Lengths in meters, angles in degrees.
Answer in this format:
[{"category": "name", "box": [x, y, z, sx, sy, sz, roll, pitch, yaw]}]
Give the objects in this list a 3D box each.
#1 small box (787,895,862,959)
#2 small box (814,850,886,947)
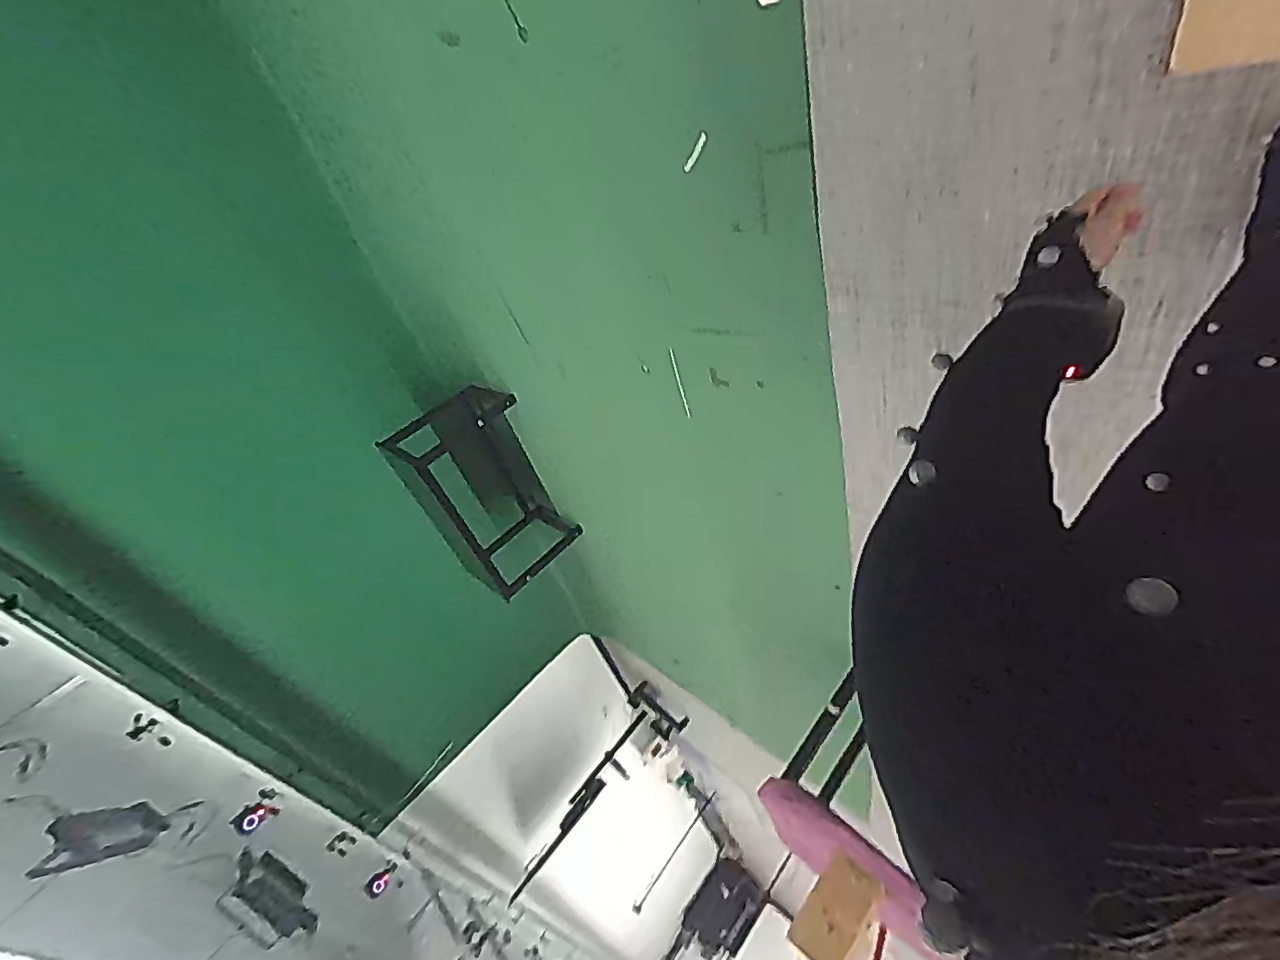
[{"category": "small box", "box": [0.596, 1.490, 1.733, 0.168, 0.176, 0.179, 21, 143, 43]}, {"category": "small box", "box": [0.704, 1.389, 1.801, 0.168, 0.176, 0.179, 21, 143, 42]}]
